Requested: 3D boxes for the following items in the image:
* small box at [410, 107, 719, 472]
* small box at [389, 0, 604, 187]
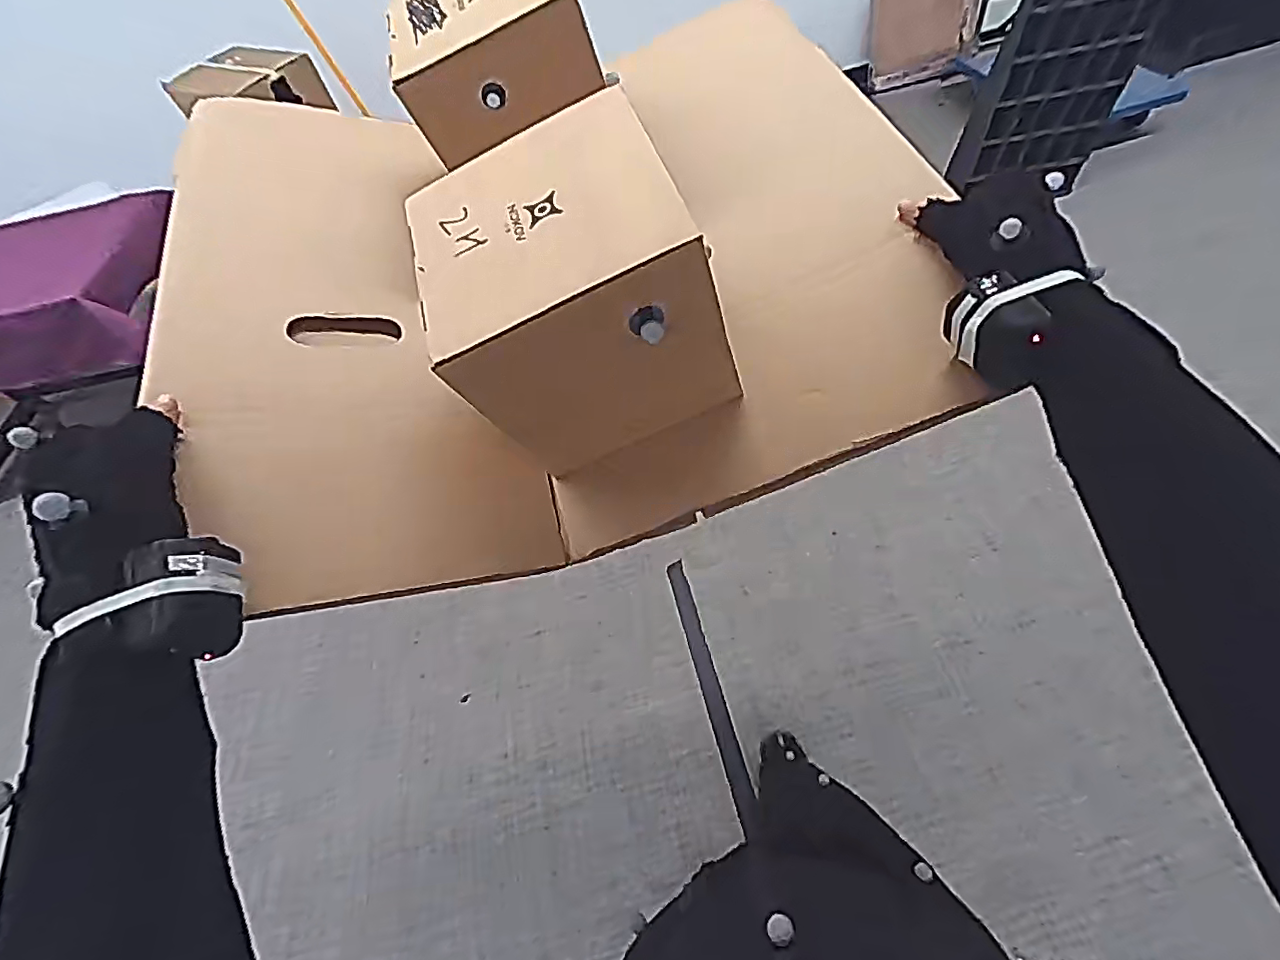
[{"bbox_3d":[-0.047,-0.132,0.426,0.179,0.176,0.168,-23,62,9],"label":"small box"},{"bbox_3d":[-0.135,-0.399,0.572,0.179,0.176,0.168,-21,63,9],"label":"small box"}]
